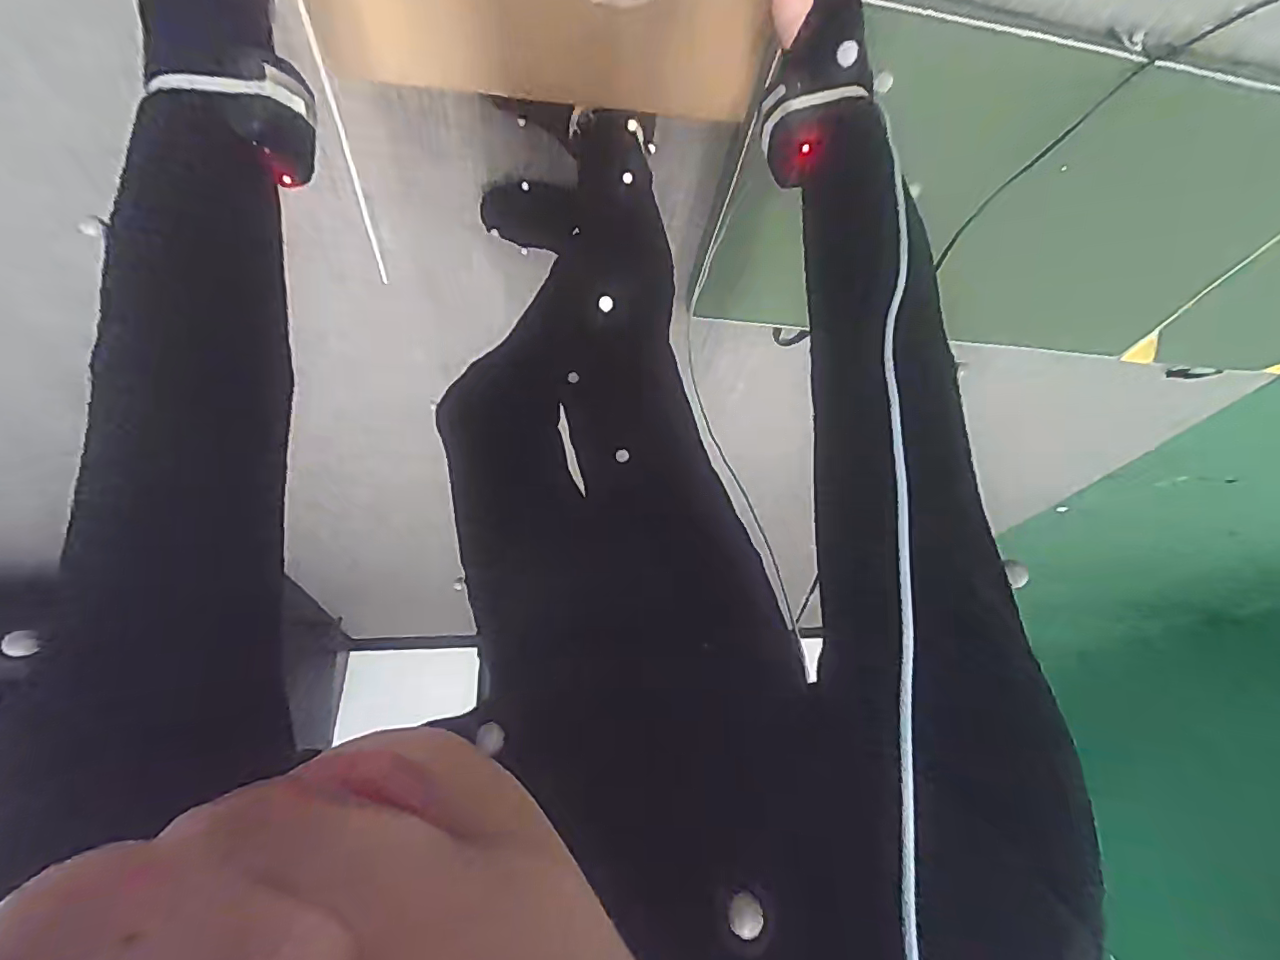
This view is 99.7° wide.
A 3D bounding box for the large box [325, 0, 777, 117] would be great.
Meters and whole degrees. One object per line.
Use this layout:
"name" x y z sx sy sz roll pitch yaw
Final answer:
"large box" -0.075 -0.587 0.484 0.408 0.320 0.320 2 152 -7
